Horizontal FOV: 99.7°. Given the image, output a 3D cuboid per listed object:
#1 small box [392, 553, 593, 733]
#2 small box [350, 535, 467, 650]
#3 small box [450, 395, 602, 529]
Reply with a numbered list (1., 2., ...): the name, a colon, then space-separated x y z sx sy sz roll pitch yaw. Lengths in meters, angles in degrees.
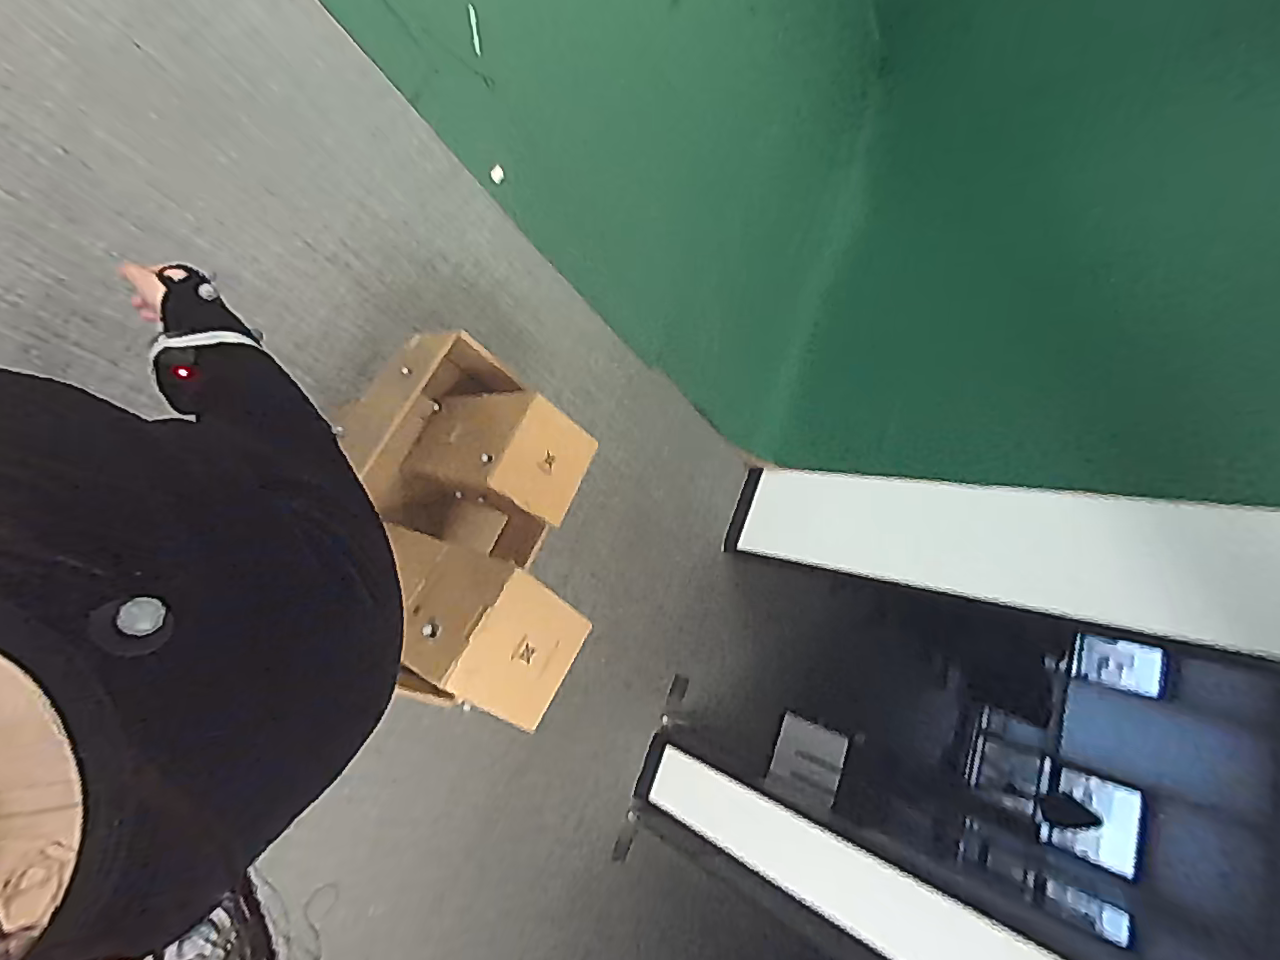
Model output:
1. small box: -0.207 0.218 0.759 0.179 0.176 0.168 51 61 -39
2. small box: -0.326 0.202 0.871 0.179 0.176 0.168 48 63 -38
3. small box: -0.206 -0.037 0.964 0.168 0.176 0.179 40 68 -42
